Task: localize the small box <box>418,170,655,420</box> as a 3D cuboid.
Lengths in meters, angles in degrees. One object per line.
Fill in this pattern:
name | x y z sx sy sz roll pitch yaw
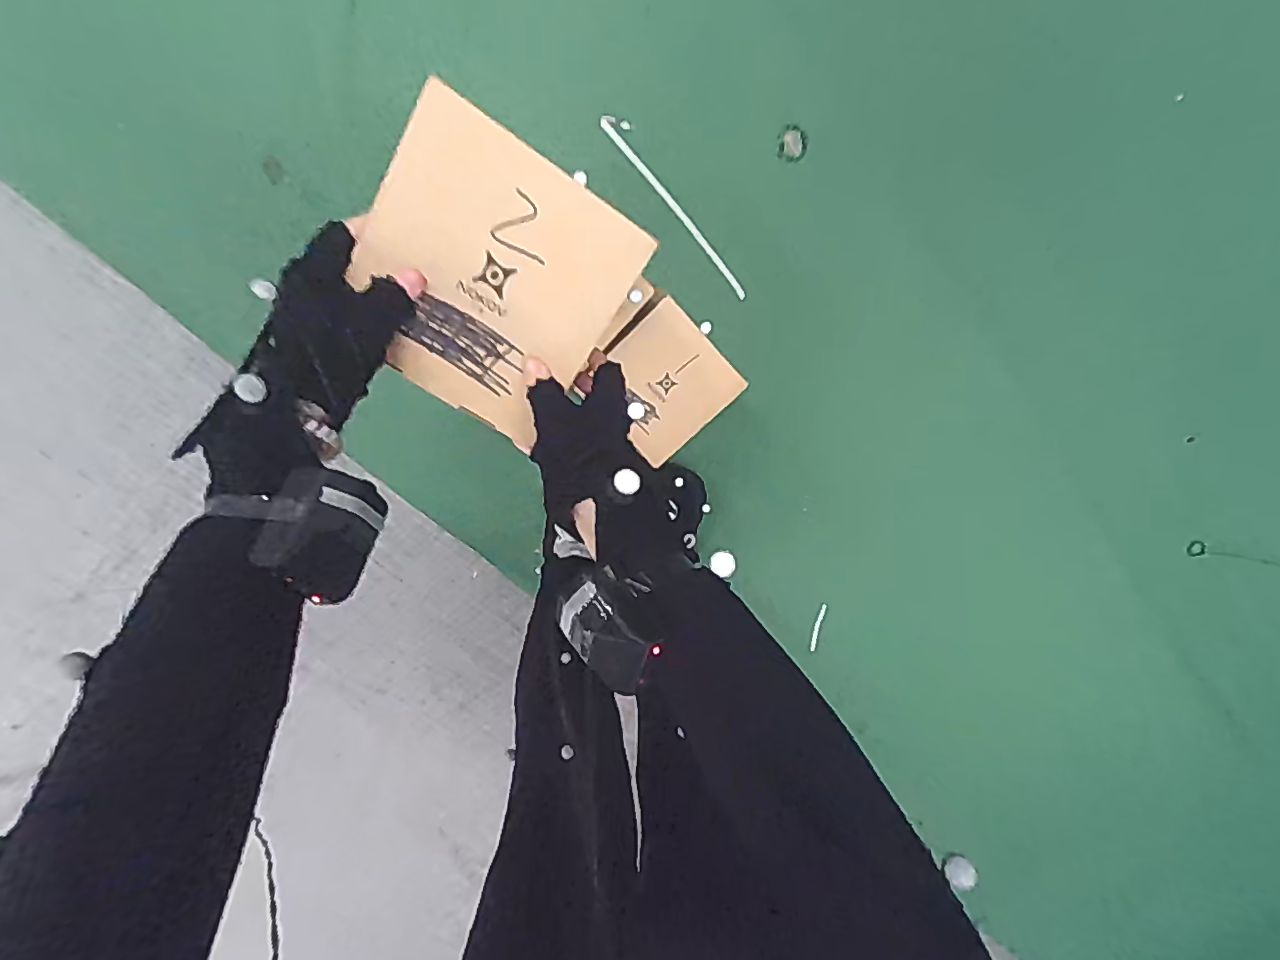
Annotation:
small box | -0.106 -0.202 0.600 0.168 0.176 0.179 40 106 -17
